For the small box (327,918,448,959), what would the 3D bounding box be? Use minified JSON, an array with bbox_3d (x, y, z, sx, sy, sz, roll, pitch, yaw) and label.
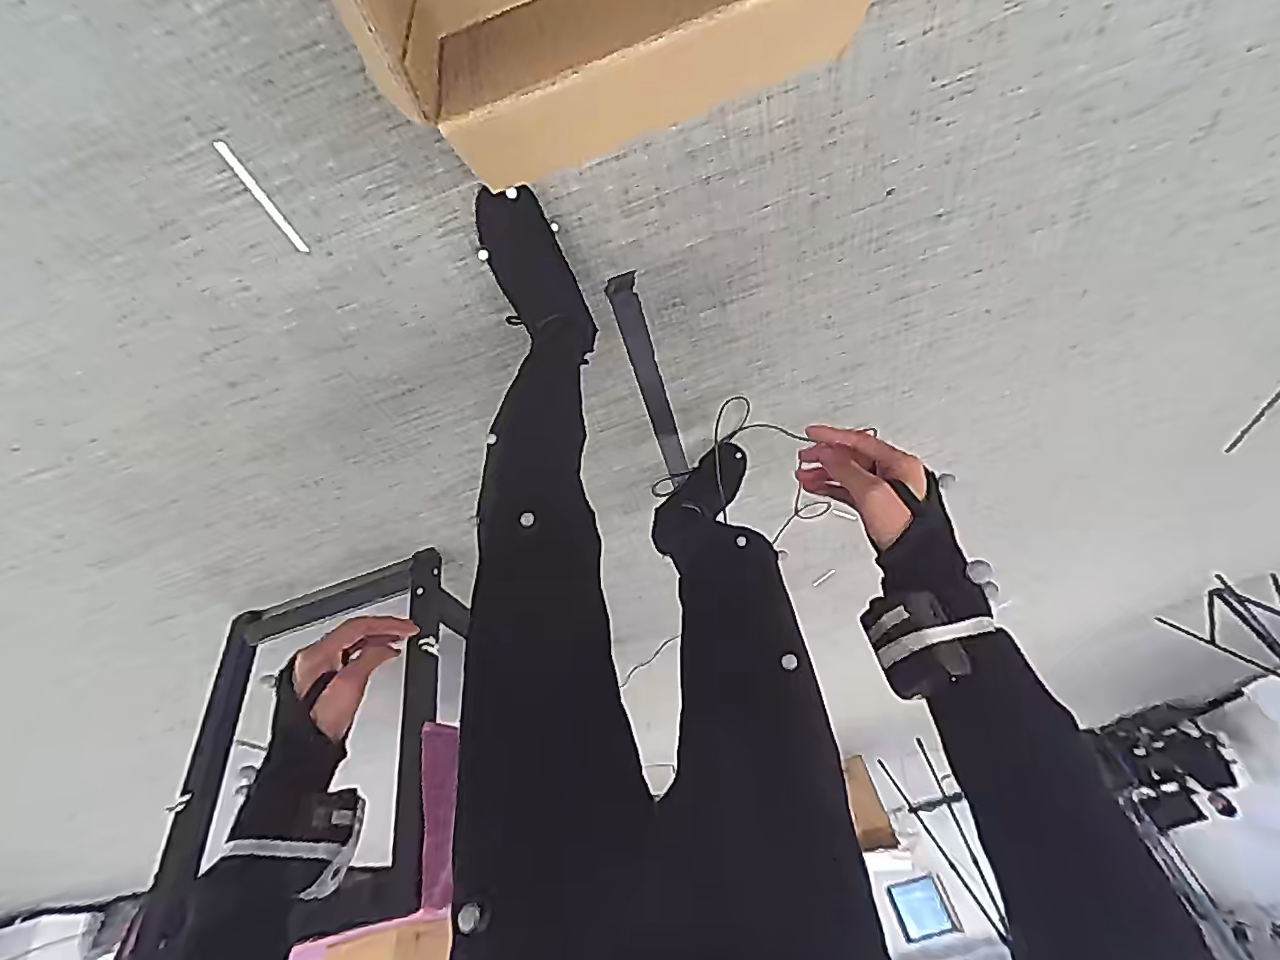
[{"bbox_3d":[-0.490,0.968,1.043,0.179,0.176,0.168,-23,141,10],"label":"small box"}]
